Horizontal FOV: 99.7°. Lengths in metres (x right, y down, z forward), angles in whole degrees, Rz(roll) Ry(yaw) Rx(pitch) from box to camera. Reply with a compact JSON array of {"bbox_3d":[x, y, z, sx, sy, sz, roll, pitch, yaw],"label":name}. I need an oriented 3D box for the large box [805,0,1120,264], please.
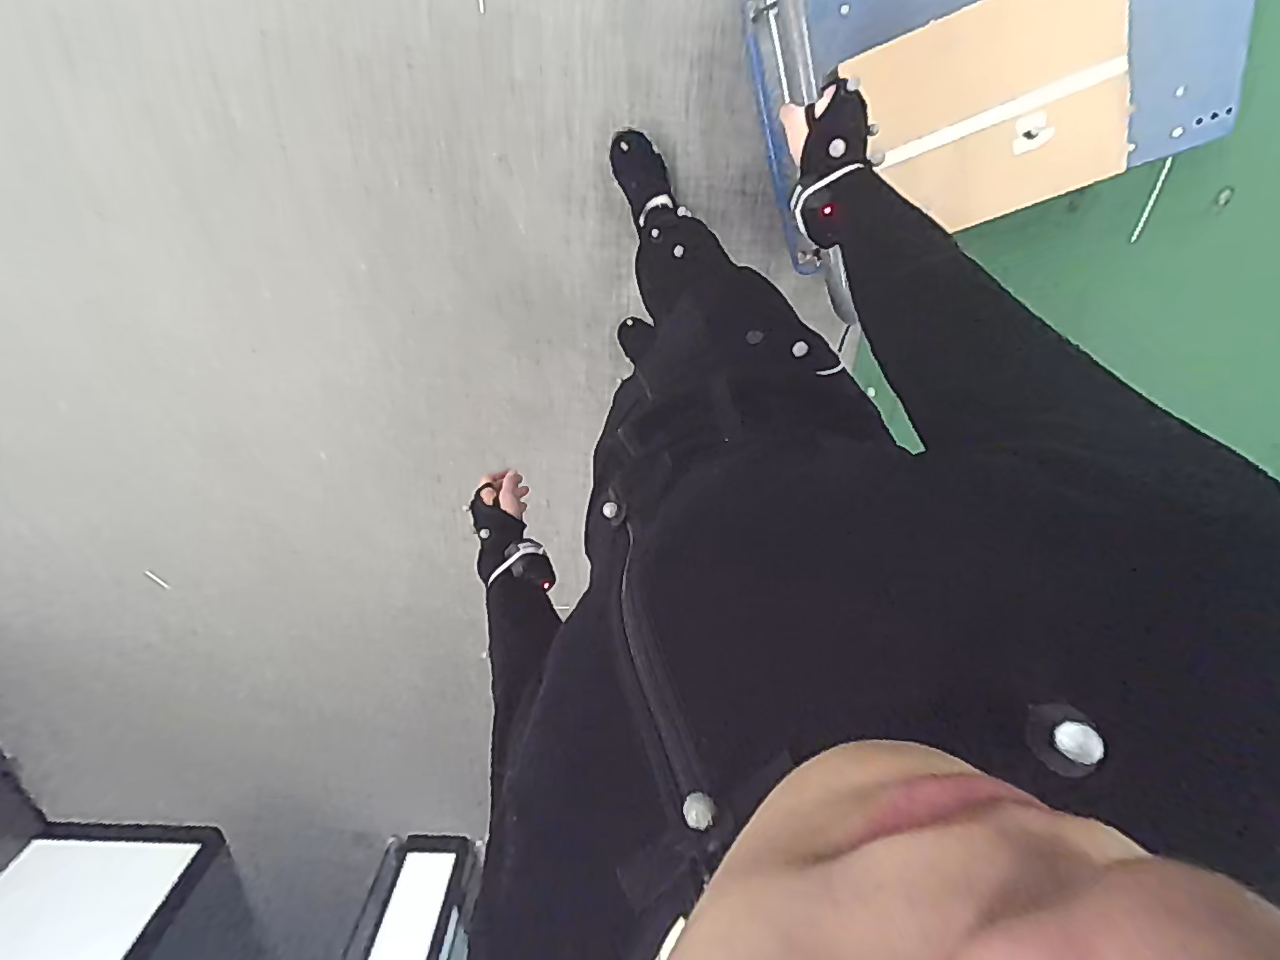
[{"bbox_3d":[0.565,-0.640,1.012,0.408,0.320,0.320,-15,115,14],"label":"large box"}]
